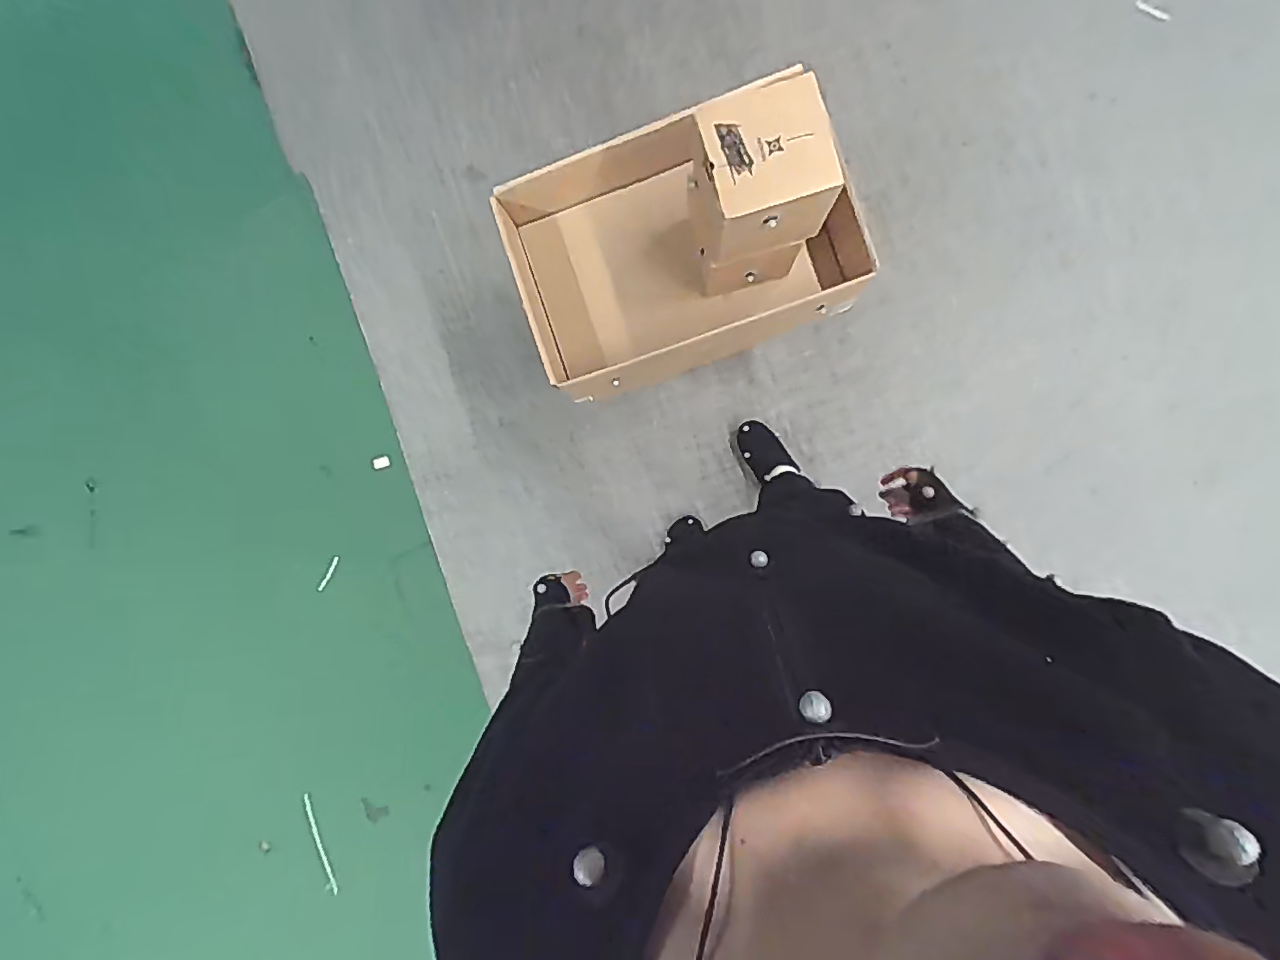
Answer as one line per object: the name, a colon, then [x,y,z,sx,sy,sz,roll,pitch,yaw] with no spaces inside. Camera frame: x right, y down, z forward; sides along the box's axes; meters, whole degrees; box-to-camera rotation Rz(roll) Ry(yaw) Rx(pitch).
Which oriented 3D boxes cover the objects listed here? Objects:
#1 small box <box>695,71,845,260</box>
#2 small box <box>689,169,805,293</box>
small box: [0.188,-0.464,0.830,0.179,0.176,0.168,-15,89,5]
small box: [0.190,-0.462,0.995,0.168,0.176,0.179,-13,88,5]
